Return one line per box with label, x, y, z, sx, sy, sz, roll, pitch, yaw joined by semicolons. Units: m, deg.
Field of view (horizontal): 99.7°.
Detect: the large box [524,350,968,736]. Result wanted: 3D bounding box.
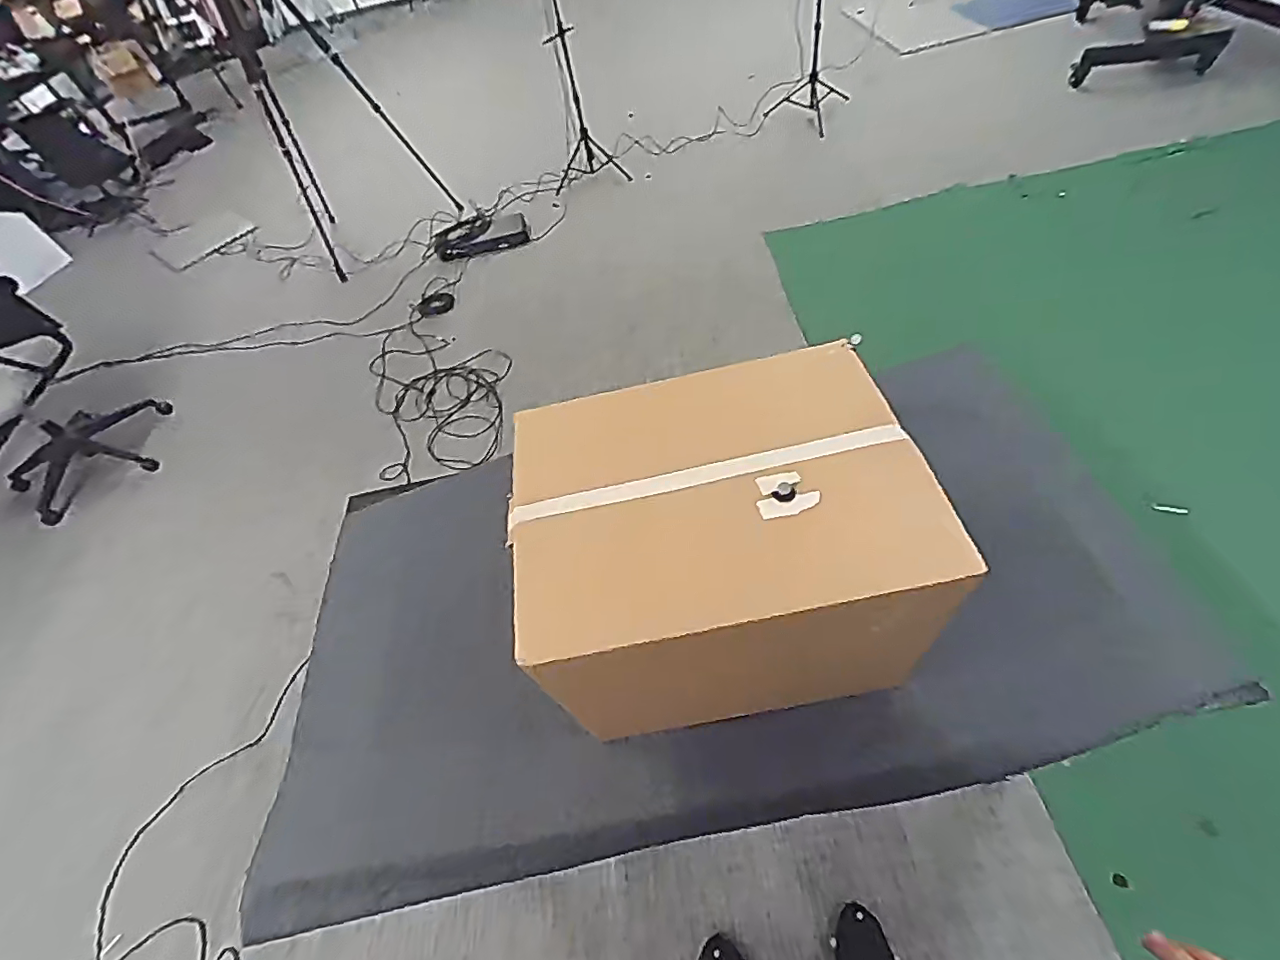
large box;0.095;0.092;0.682;0.408;0.320;0.320;-12;53;2
